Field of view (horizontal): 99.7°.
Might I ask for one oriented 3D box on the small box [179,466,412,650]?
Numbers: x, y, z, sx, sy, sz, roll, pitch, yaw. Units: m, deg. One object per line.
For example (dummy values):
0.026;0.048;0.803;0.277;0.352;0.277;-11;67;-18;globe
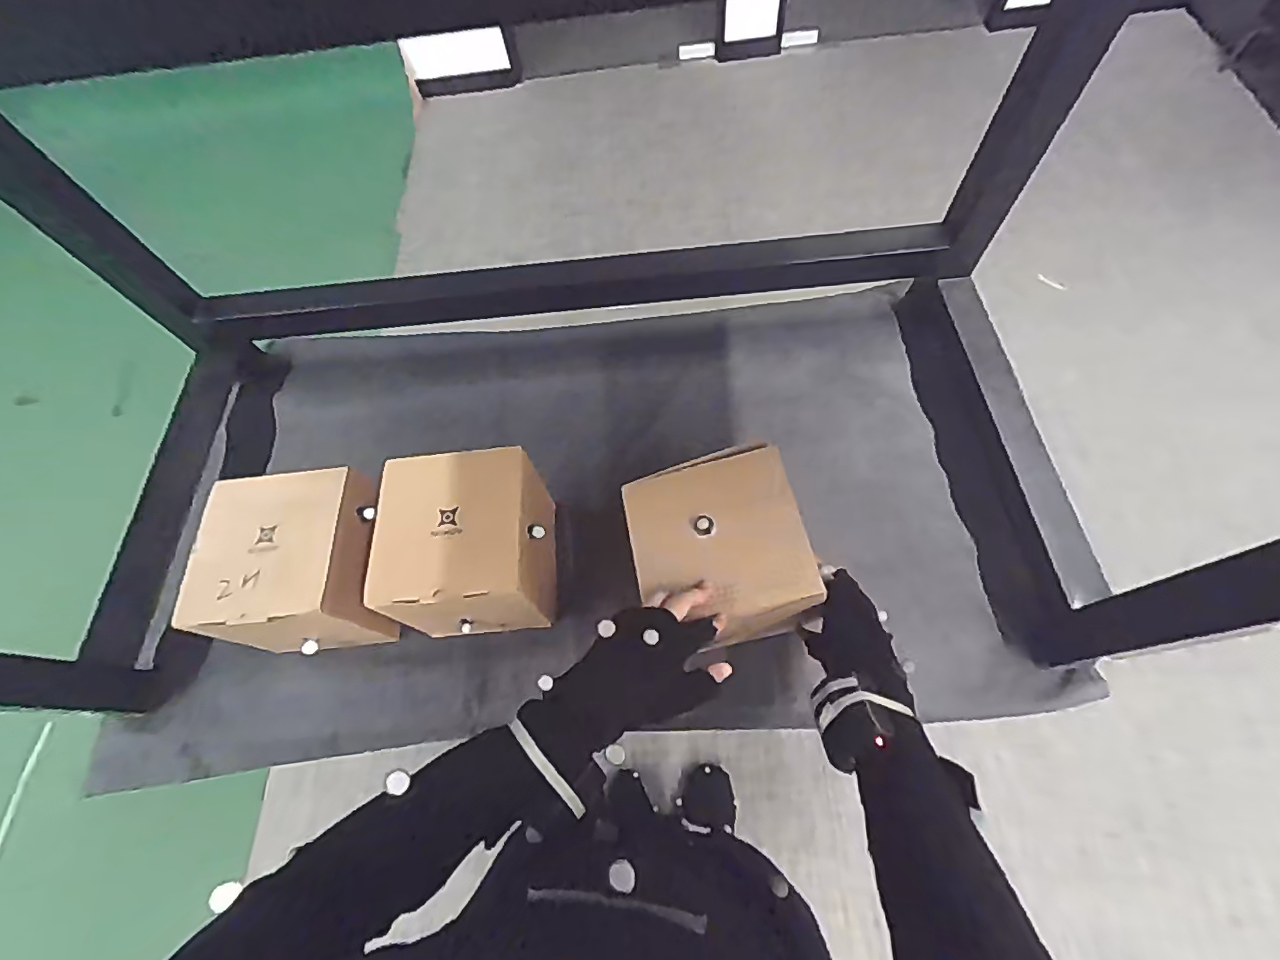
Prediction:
-0.406;0.103;0.676;0.168;0.176;0.179;-6;63;2;small box
